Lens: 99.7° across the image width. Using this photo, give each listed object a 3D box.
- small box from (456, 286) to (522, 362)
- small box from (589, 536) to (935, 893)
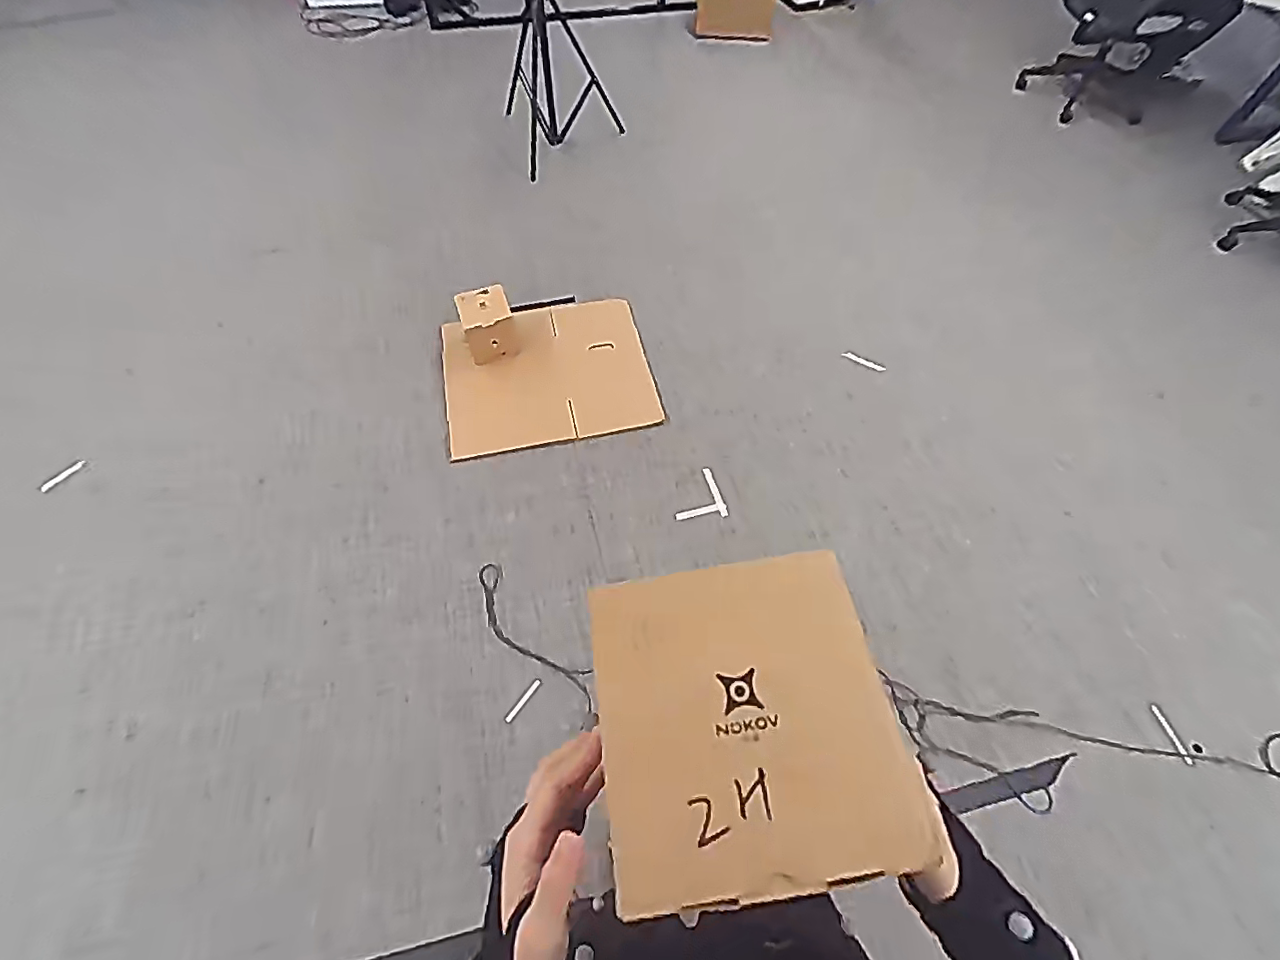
[{"bbox_3d":[-0.516,-0.531,1.867,0.168,0.176,0.179,-18,62,-11],"label":"small box"},{"bbox_3d":[0.061,0.162,0.377,0.168,0.176,0.179,-9,59,0],"label":"small box"}]
